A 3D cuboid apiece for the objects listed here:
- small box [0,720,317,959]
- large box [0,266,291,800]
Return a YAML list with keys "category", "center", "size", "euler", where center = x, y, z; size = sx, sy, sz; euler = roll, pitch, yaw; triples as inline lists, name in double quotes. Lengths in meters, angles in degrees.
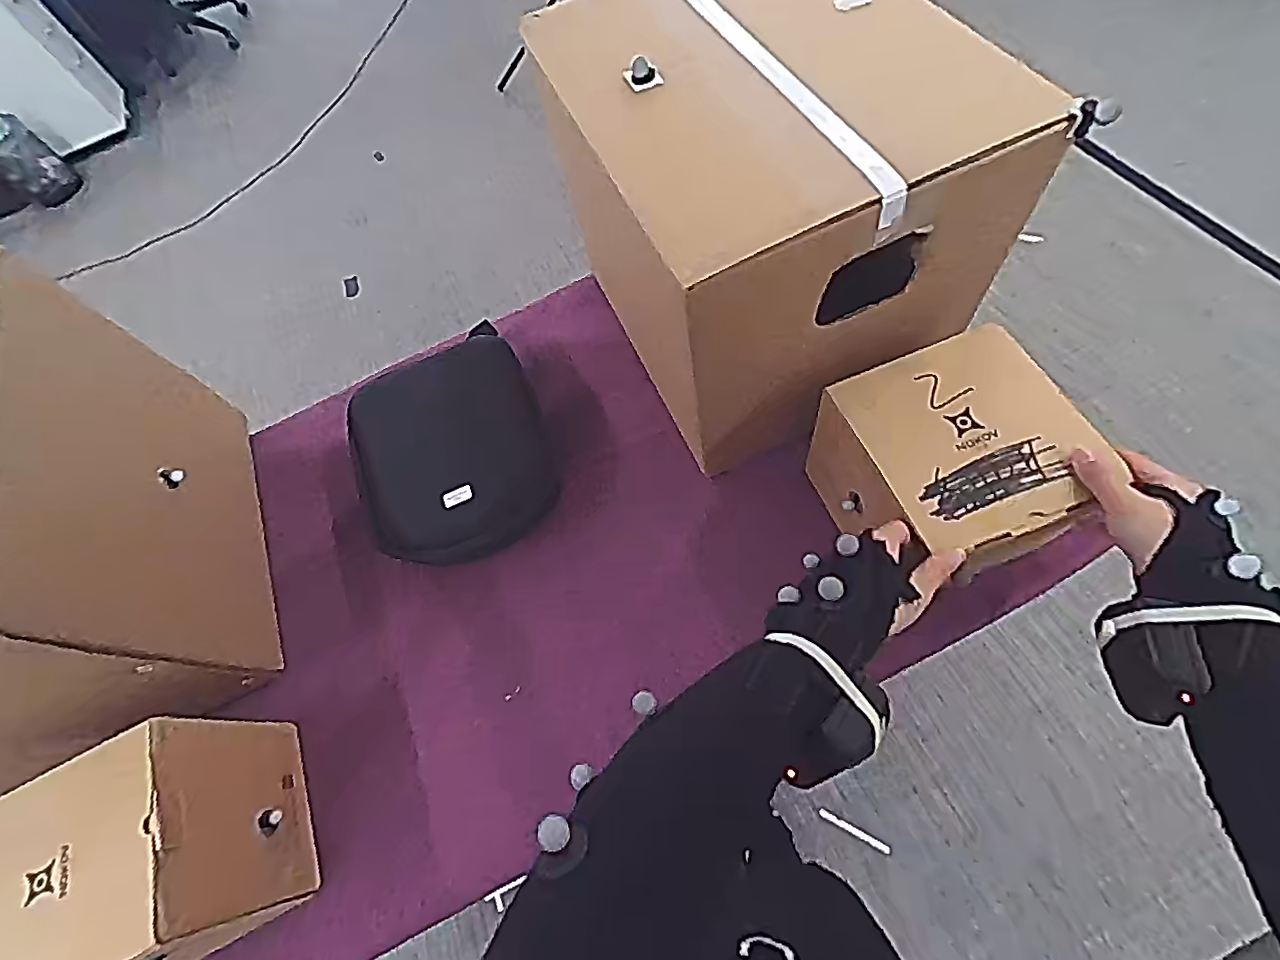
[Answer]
- category: "small box"
  center: [-0.432, 0.339, 0.480]
  size: [0.179, 0.176, 0.168]
  euler: [-28, 62, -5]
- category: "large box"
  center: [-0.640, 0.072, 0.564]
  size: [0.320, 0.320, 0.408]
  euler: [-27, 65, -5]
